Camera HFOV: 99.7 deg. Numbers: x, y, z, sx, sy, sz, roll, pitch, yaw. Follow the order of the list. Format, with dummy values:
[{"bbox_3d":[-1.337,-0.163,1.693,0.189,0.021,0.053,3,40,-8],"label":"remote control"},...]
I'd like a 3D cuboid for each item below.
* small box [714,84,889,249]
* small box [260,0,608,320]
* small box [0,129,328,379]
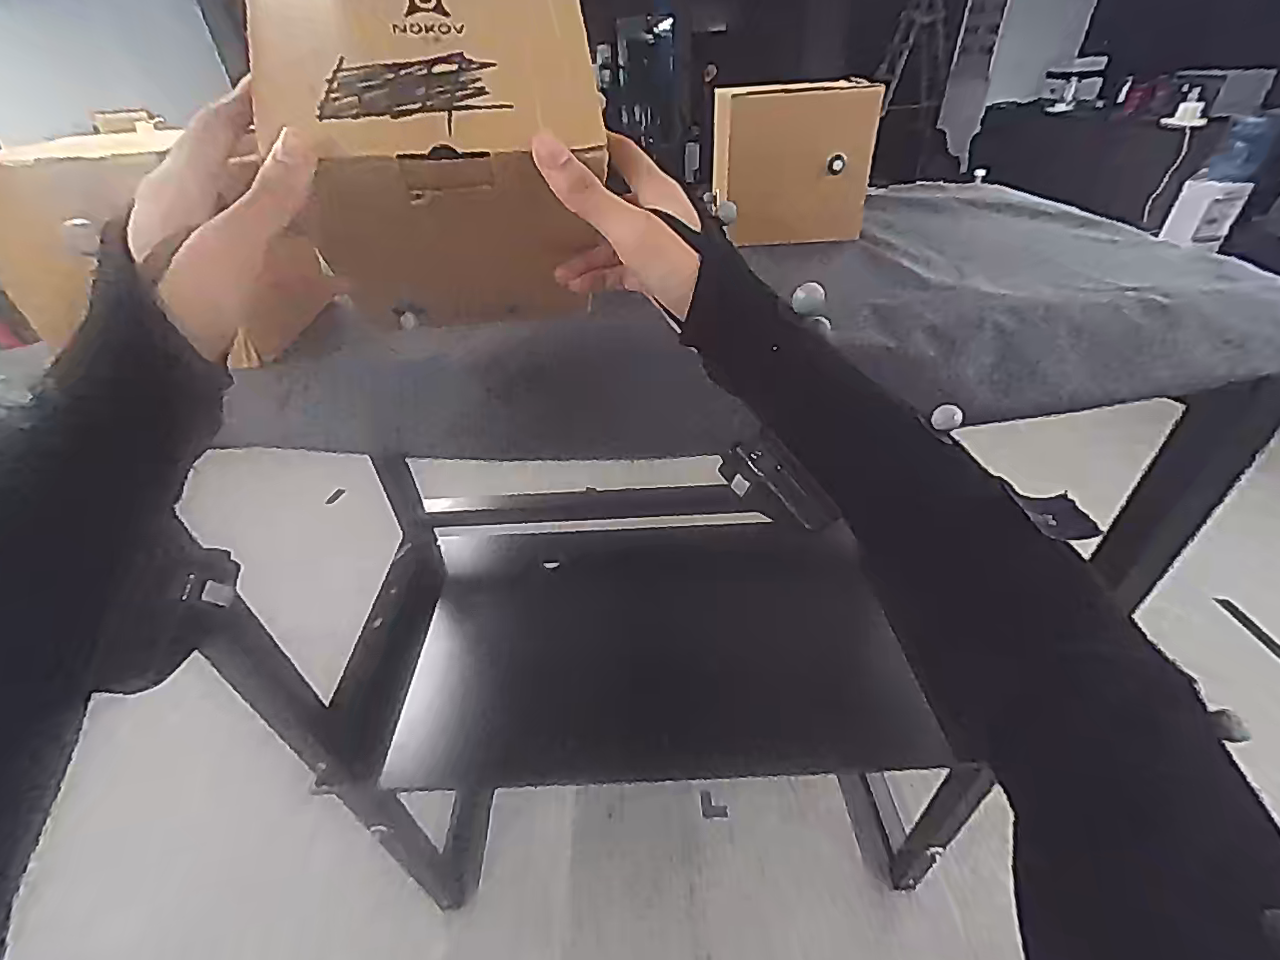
[{"bbox_3d":[0.196,-0.414,0.715,0.179,0.176,0.168,-1,37,2],"label":"small box"},{"bbox_3d":[-0.119,-0.221,0.359,0.168,0.176,0.179,-9,77,-11],"label":"small box"},{"bbox_3d":[-0.415,-0.206,0.488,0.168,0.176,0.179,-5,39,-3],"label":"small box"}]
